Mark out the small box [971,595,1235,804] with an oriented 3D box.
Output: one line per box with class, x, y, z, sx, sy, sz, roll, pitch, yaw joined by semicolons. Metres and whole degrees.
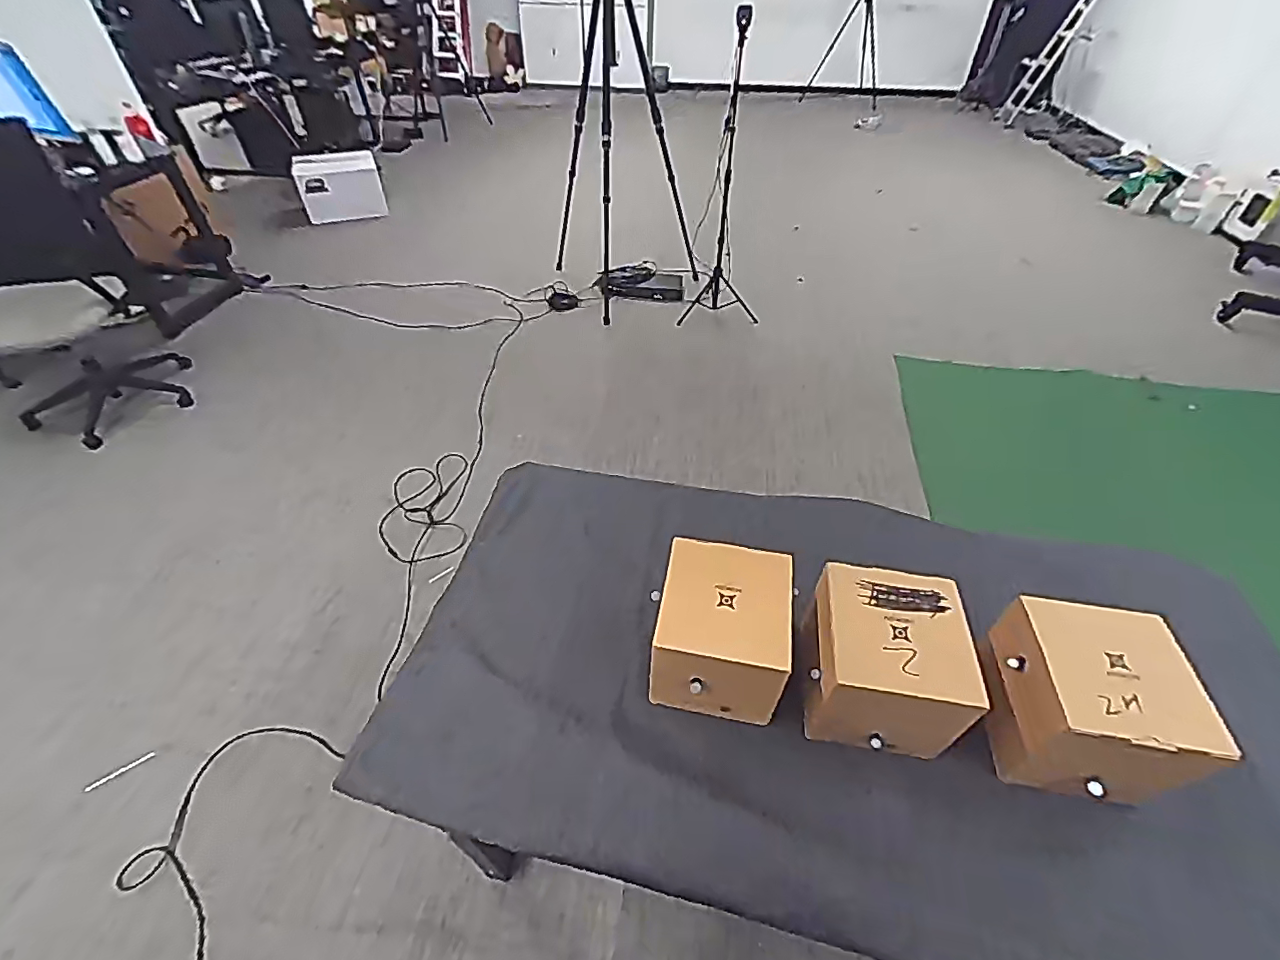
small box;0.550;0.275;0.682;0.168;0.176;0.179;7;44;8
